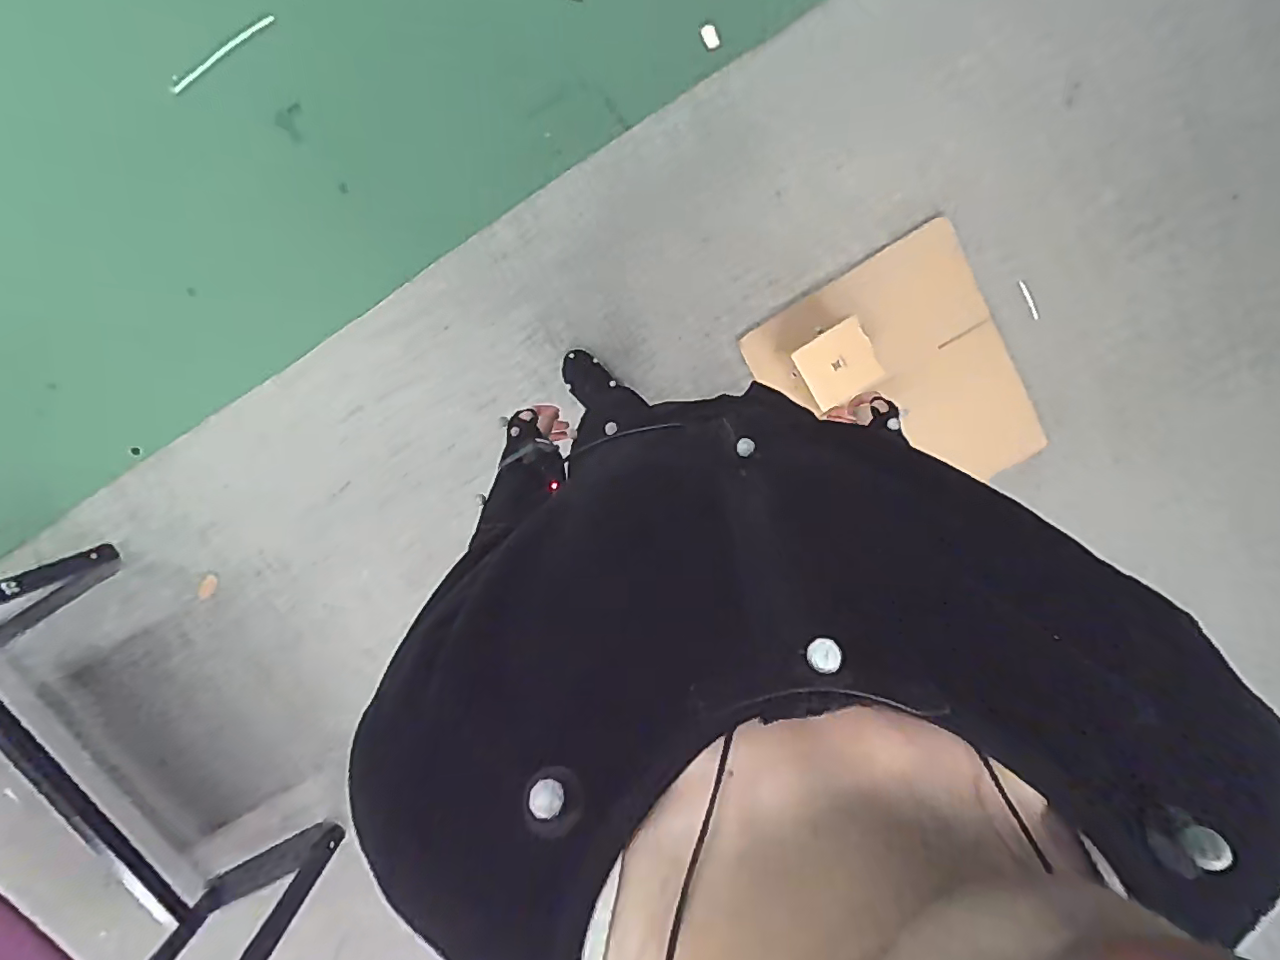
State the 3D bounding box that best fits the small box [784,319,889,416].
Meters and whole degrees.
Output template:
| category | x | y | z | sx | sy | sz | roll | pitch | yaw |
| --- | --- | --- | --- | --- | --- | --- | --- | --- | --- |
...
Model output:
| category | x | y | z | sx | sy | sz | roll | pitch | yaw |
| --- | --- | --- | --- | --- | --- | --- | --- | --- | --- |
| small box | 0.479 | -0.280 | 1.355 | 0.179 | 0.176 | 0.168 | -32 | 100 | 6 |
